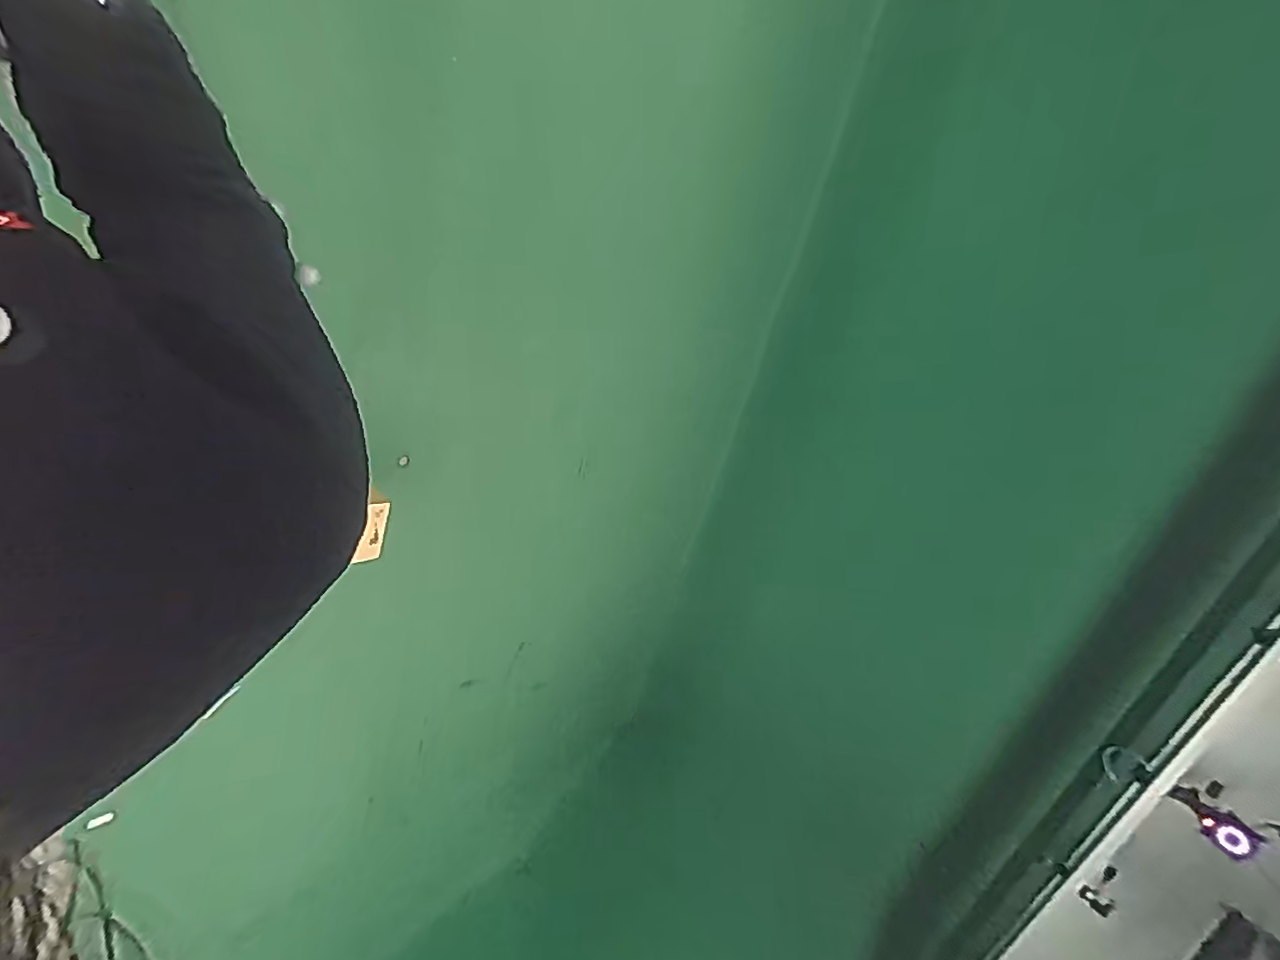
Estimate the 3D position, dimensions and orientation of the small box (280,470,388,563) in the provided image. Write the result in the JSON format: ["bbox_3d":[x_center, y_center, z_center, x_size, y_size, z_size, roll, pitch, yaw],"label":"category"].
[{"bbox_3d":[-0.764,0.082,1.340,0.179,0.176,0.168,-6,121,-55],"label":"small box"}]
